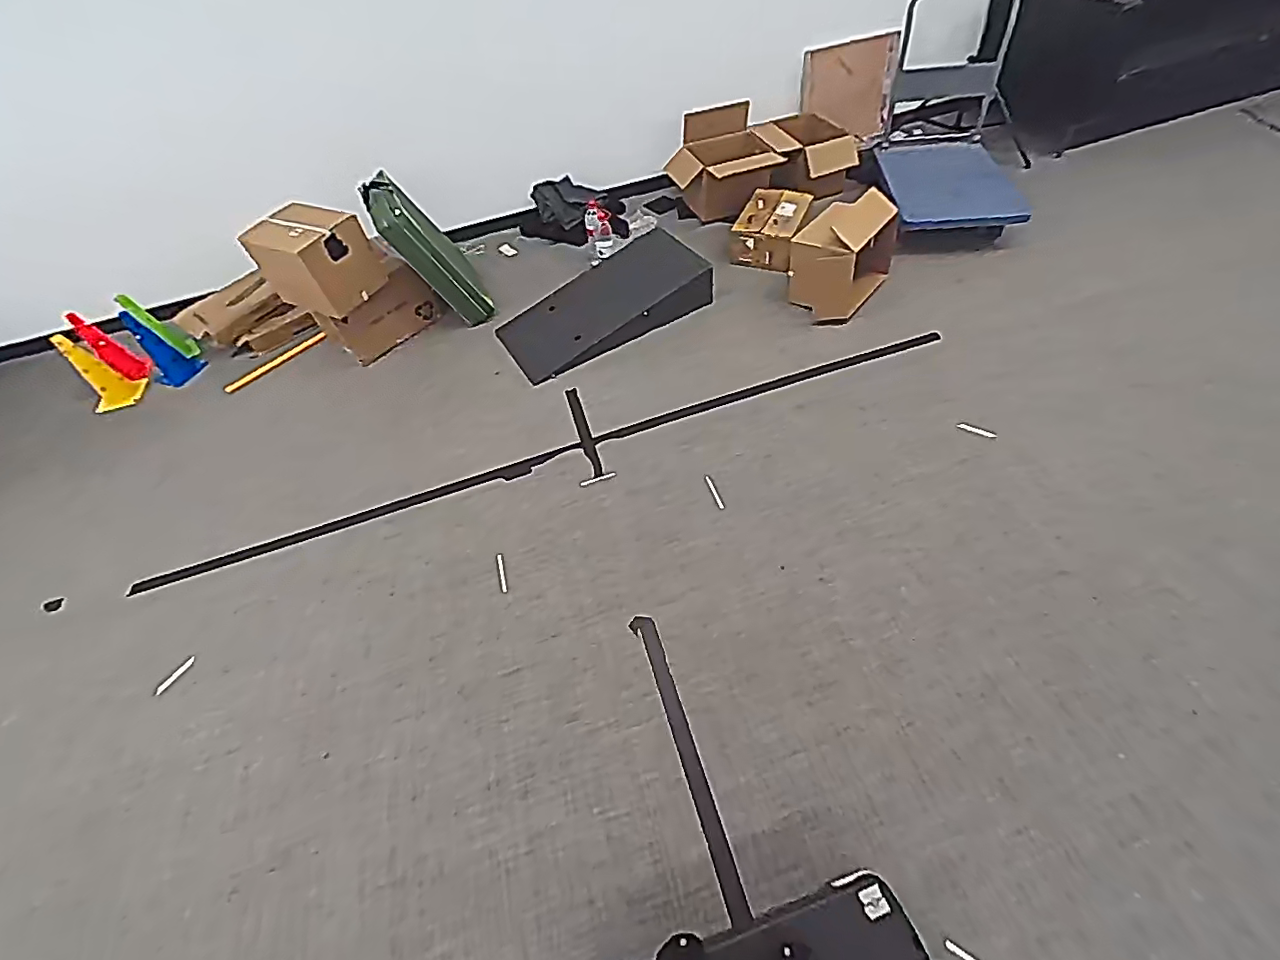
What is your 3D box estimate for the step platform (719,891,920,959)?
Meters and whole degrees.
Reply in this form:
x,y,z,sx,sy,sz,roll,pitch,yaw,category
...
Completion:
x,y,z,sx,sy,sz,roll,pitch,yaw,category
0.244,1.092,1.057,0.684,0.204,0.286,-18,53,-7,step platform
